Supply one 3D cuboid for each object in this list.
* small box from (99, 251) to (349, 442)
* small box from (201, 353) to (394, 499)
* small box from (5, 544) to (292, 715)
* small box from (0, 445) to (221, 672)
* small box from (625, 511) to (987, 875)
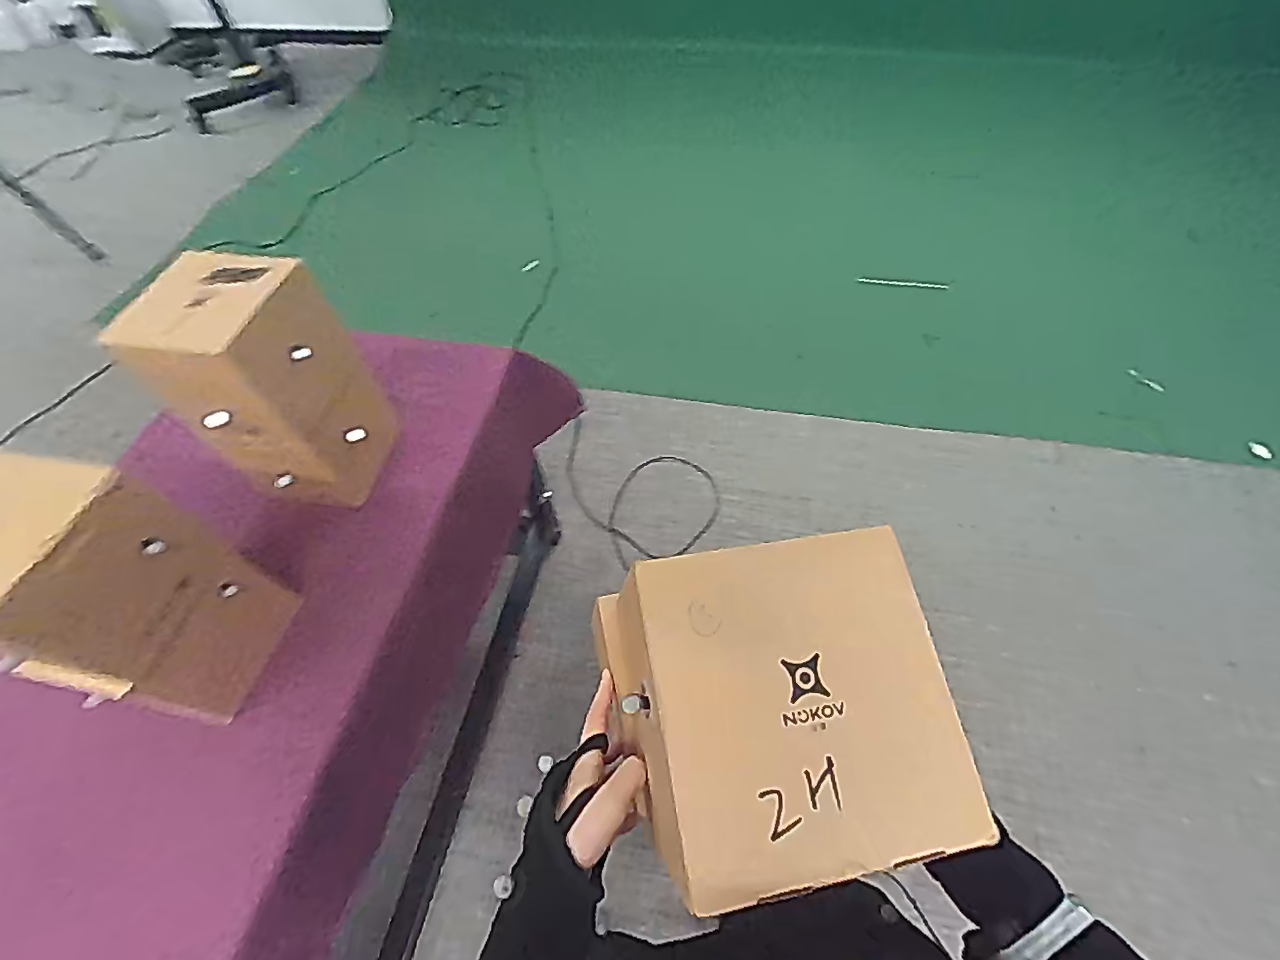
[{"bbox_3d":[-0.528,-0.177,0.724,0.168,0.176,0.179,6,57,8],"label":"small box"},{"bbox_3d":[-0.524,-0.086,0.862,0.168,0.176,0.179,6,58,6],"label":"small box"},{"bbox_3d":[-0.594,0.183,0.688,0.168,0.176,0.179,8,56,9],"label":"small box"},{"bbox_3d":[-0.599,0.086,0.558,0.179,0.176,0.168,7,55,8],"label":"small box"},{"bbox_3d":[0.084,0.136,0.377,0.168,0.176,0.179,-6,69,-8],"label":"small box"}]
